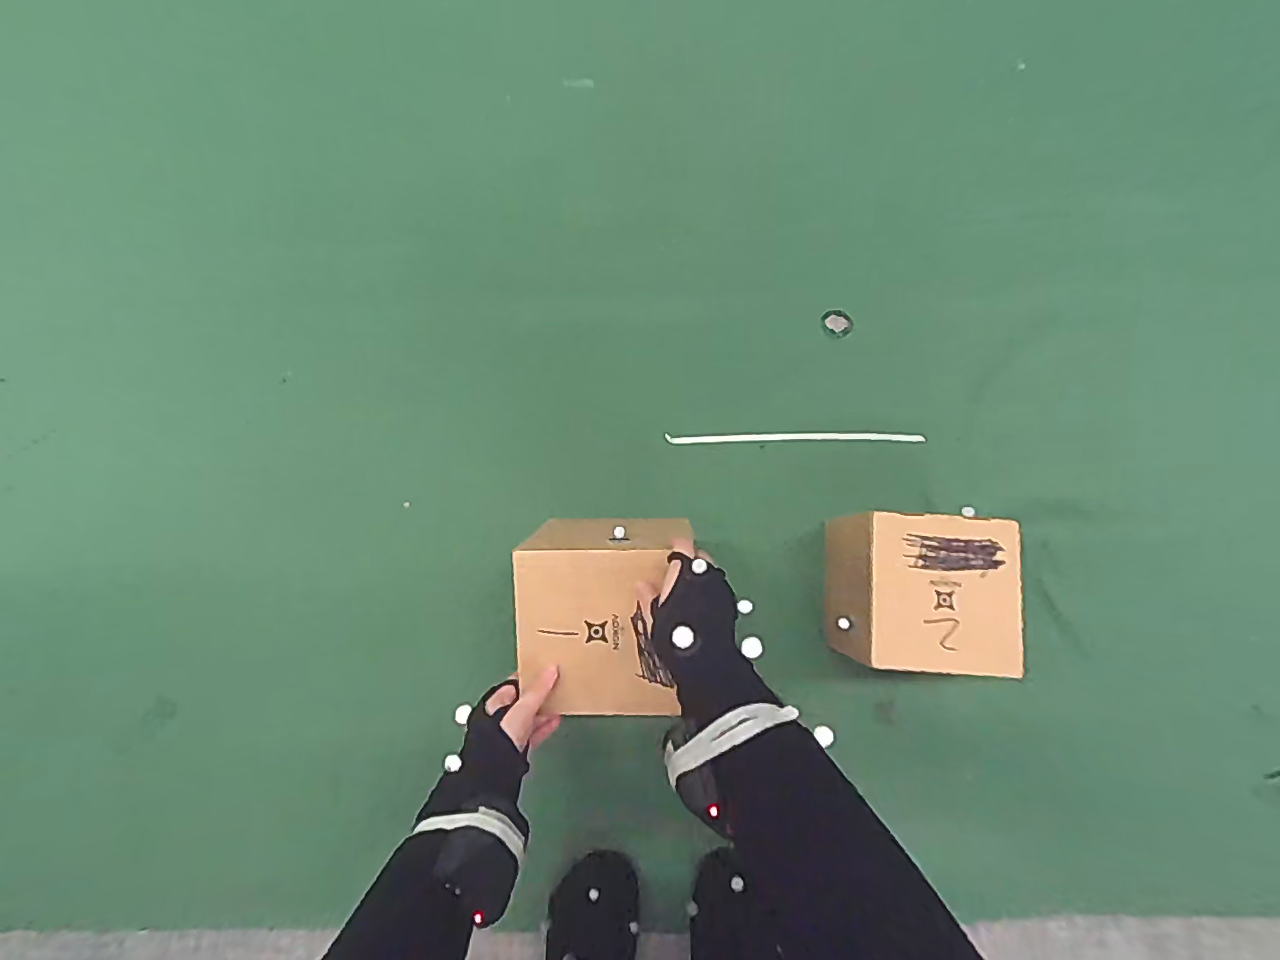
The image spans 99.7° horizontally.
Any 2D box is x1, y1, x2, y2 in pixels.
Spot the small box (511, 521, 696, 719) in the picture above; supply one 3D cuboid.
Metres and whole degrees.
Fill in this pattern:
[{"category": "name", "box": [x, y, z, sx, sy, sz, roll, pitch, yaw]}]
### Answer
[{"category": "small box", "box": [-0.031, 0.140, 0.594, 0.179, 0.176, 0.168, -1, 96, 4]}]
